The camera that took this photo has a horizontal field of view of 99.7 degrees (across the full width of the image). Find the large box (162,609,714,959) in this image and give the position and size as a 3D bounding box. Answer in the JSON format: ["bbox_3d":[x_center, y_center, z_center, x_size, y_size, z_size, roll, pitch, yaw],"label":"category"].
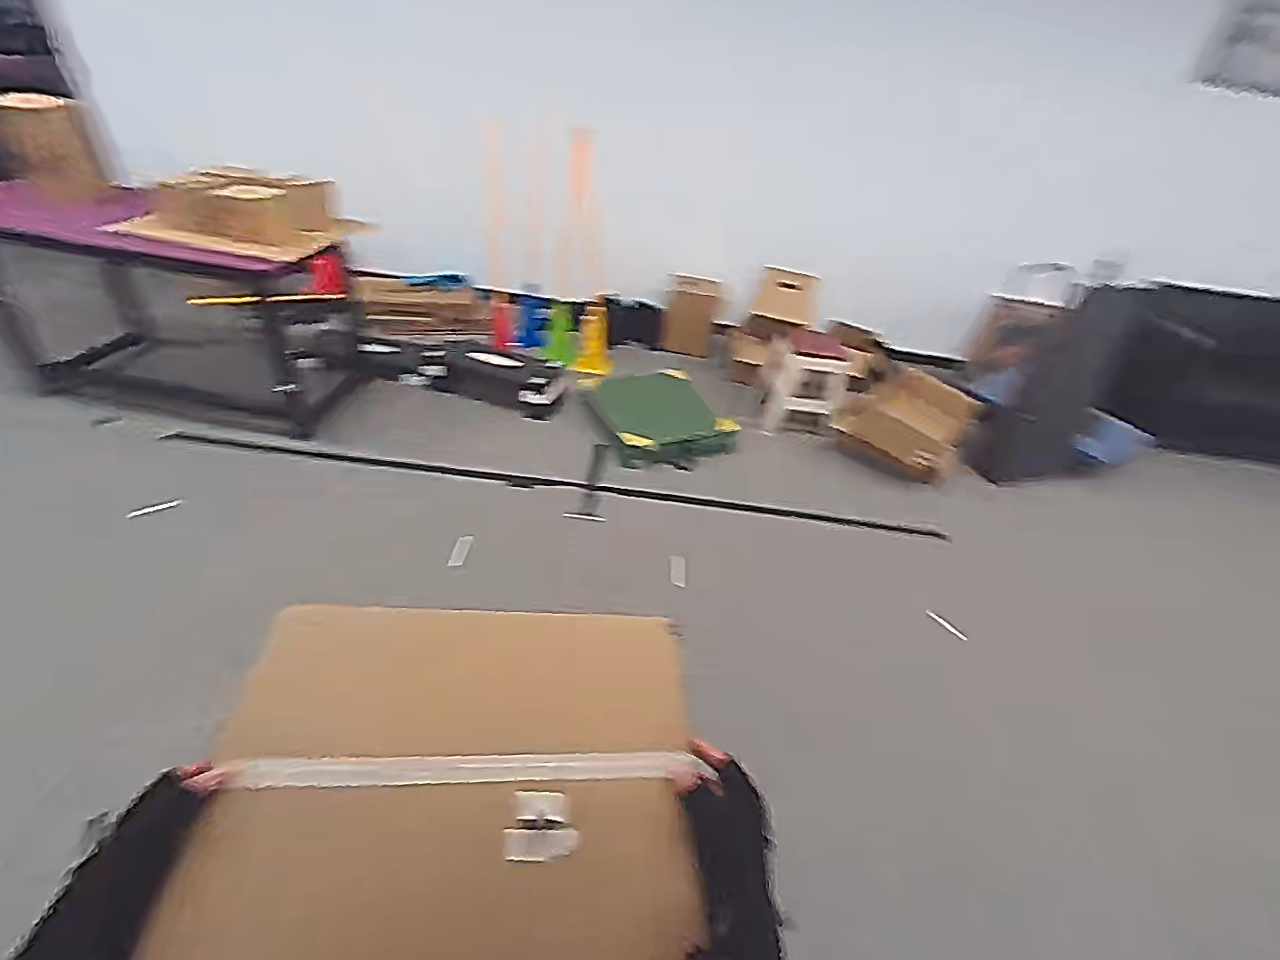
[{"bbox_3d":[-0.173,0.362,0.595,0.408,0.320,0.320,5,46,-10],"label":"large box"}]
